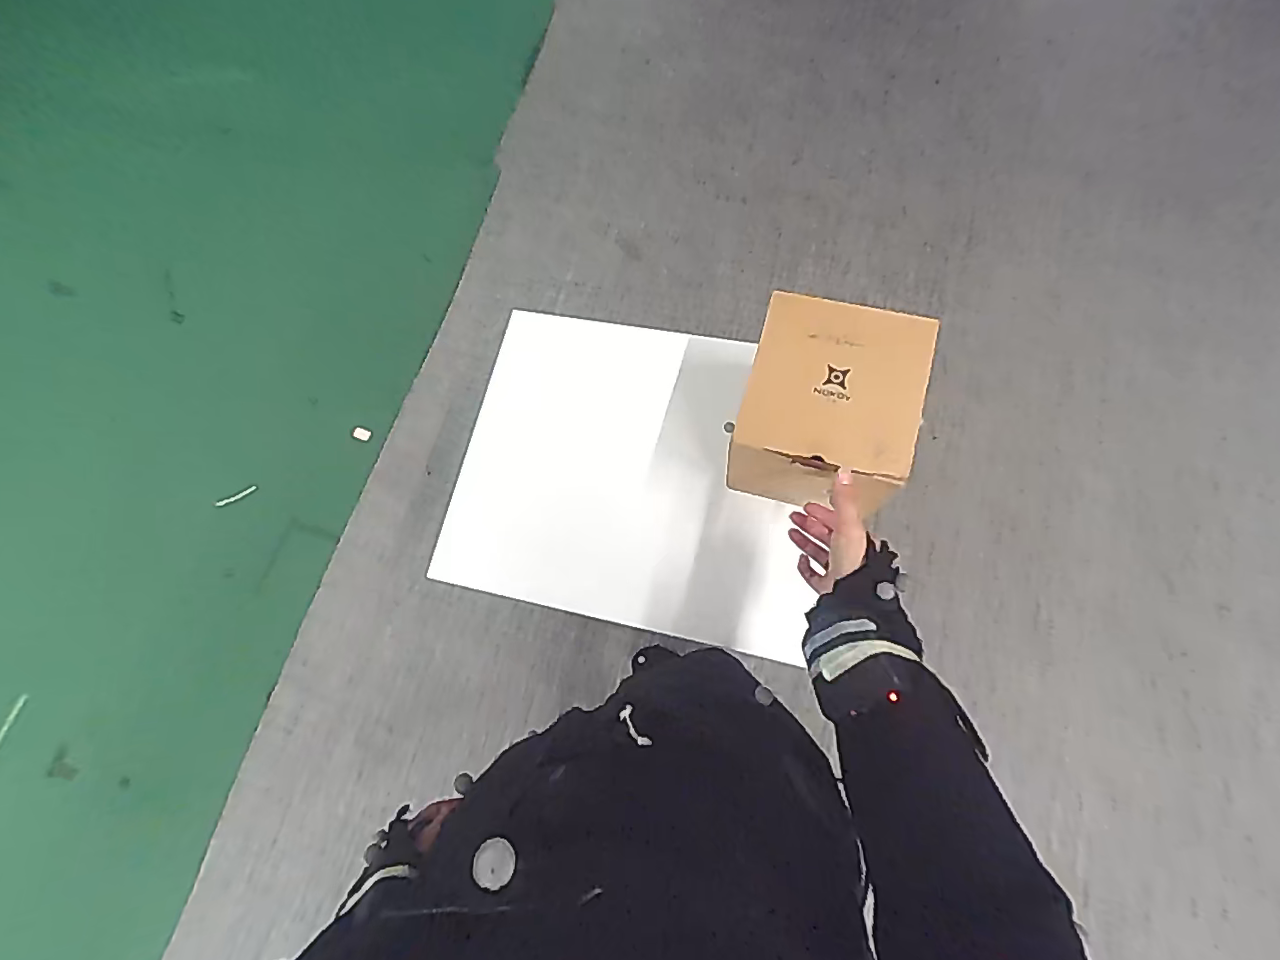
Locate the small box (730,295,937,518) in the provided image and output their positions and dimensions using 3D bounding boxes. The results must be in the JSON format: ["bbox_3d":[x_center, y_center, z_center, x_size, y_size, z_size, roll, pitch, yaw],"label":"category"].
[{"bbox_3d":[0.200,-0.070,0.601,0.168,0.176,0.179,15,75,11],"label":"small box"}]
